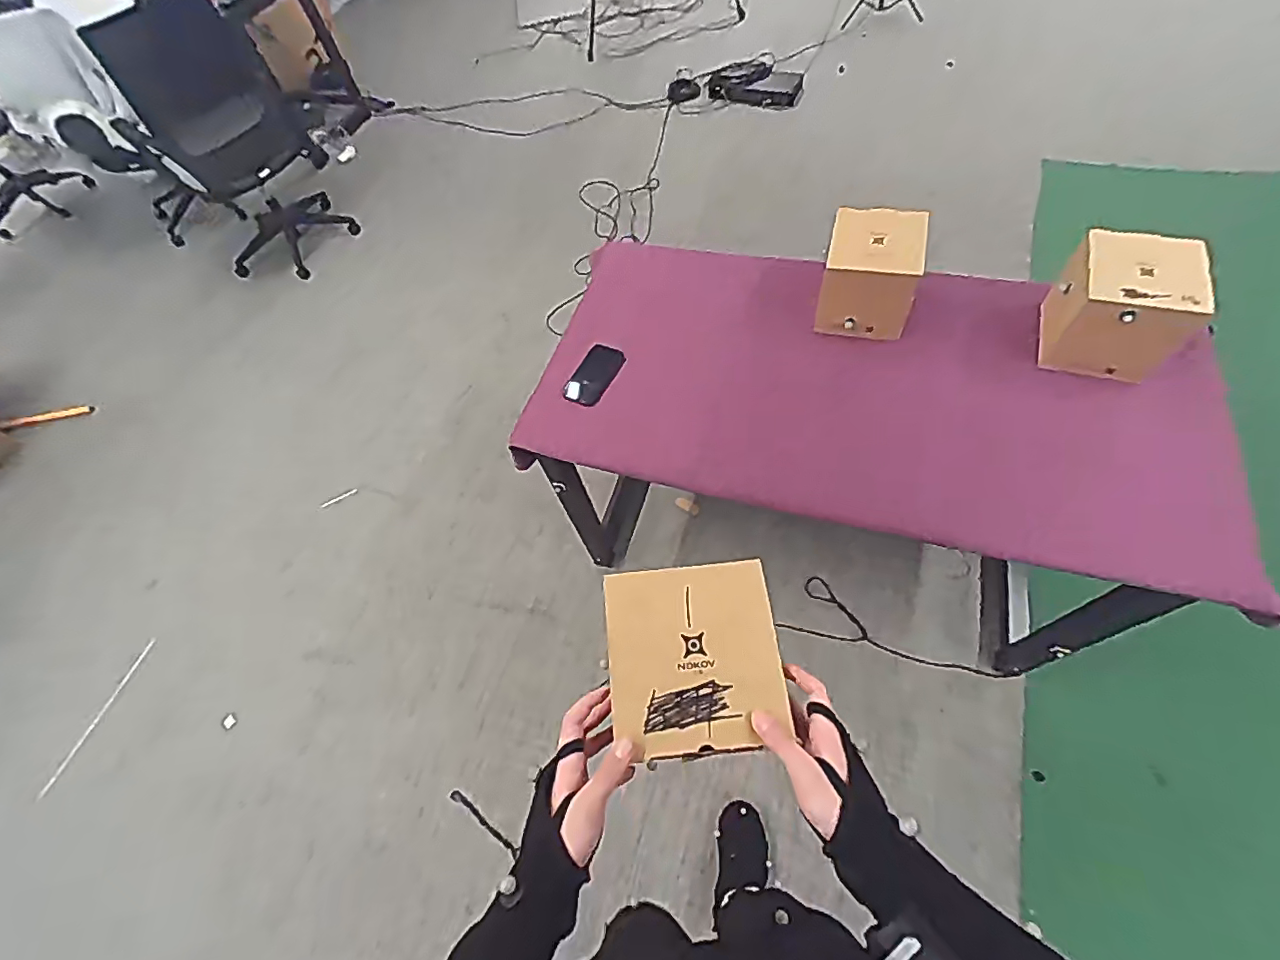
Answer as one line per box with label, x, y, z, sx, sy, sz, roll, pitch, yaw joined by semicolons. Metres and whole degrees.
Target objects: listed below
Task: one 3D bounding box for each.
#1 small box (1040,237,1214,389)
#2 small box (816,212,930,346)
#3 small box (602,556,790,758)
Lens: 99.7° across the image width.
small box;0.831;-0.289;0.943;0.168;0.176;0.179;15;62;18
small box;0.452;-0.394;1.064;0.168;0.176;0.179;12;63;16
small box;0.051;0.195;0.588;0.168;0.176;0.179;-5;64;-2
